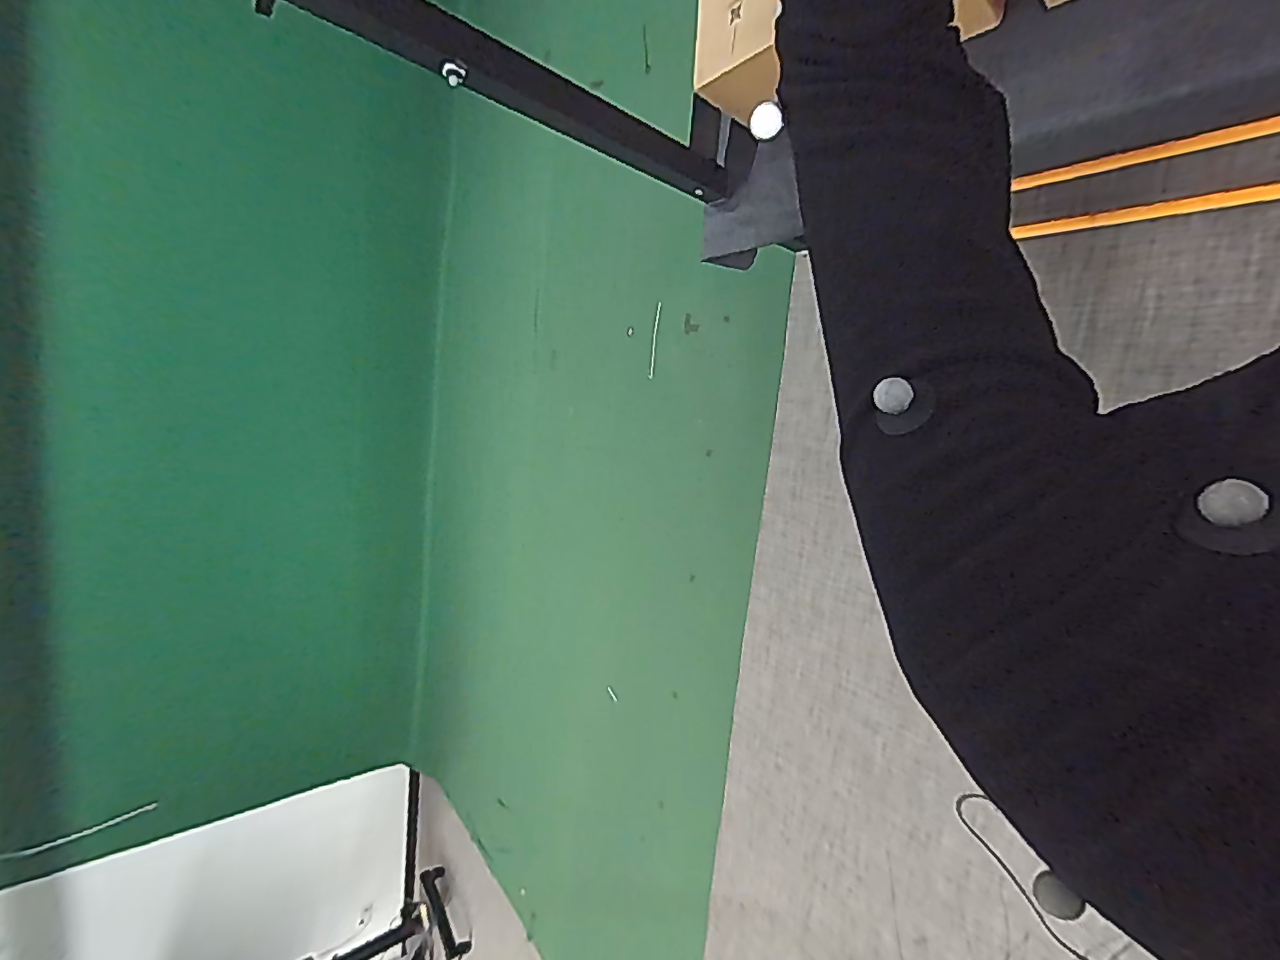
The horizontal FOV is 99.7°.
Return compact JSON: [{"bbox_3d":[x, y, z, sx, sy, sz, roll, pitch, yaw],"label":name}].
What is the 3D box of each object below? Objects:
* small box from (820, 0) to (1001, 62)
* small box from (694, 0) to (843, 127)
[{"bbox_3d":[0.357,-0.681,0.689,0.168,0.176,0.179,13,99,48],"label":"small box"},{"bbox_3d":[0.209,-0.710,0.858,0.168,0.176,0.179,10,98,49],"label":"small box"}]
